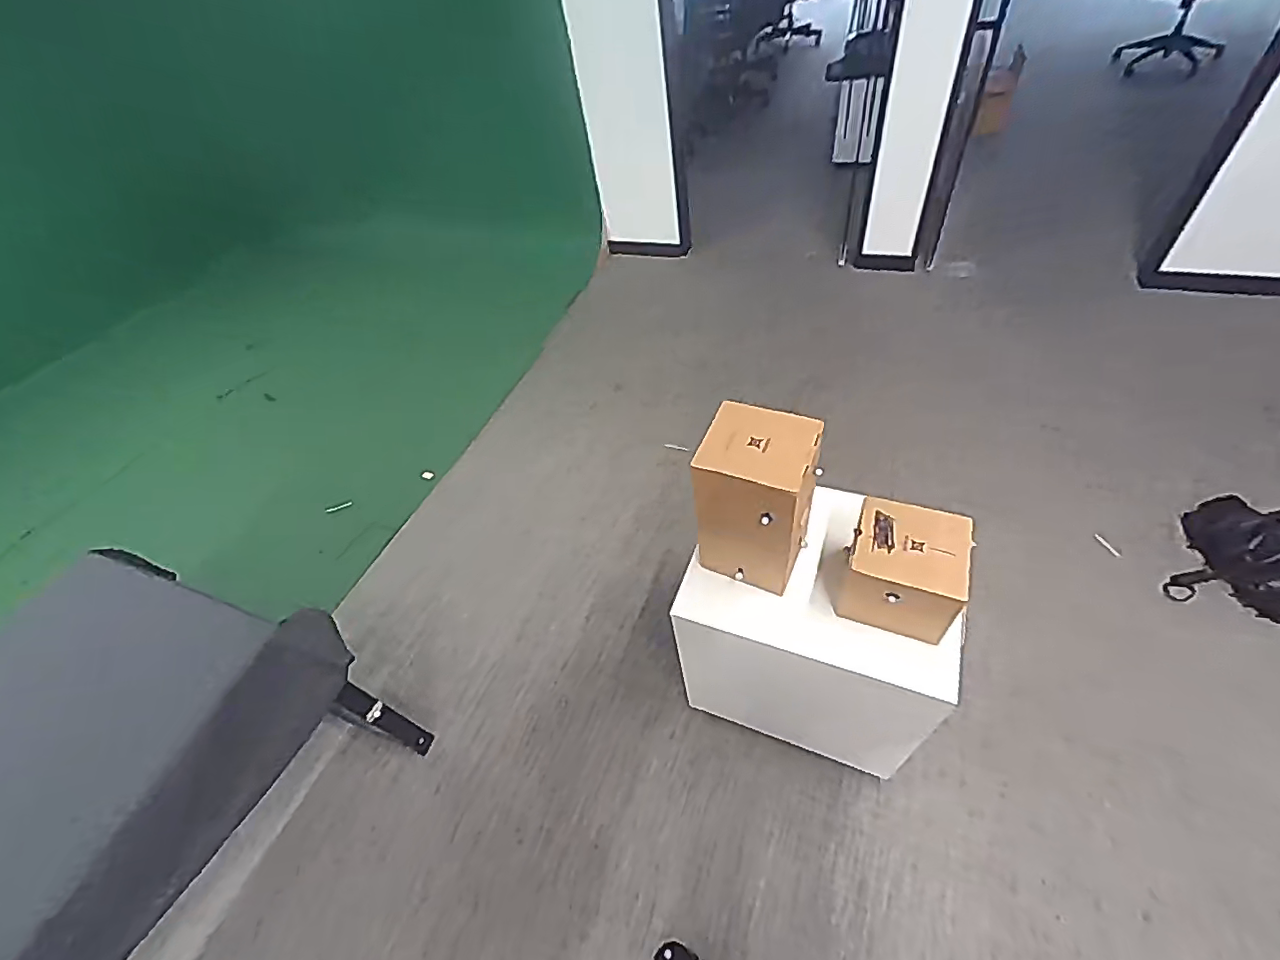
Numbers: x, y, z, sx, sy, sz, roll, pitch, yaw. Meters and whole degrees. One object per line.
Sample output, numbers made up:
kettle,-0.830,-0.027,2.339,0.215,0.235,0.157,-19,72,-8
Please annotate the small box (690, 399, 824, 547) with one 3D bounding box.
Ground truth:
small box,0.197,-0.009,0.922,0.179,0.176,0.168,14,51,20

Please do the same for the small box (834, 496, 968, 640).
small box,0.455,0.159,0.959,0.179,0.176,0.168,14,53,18
